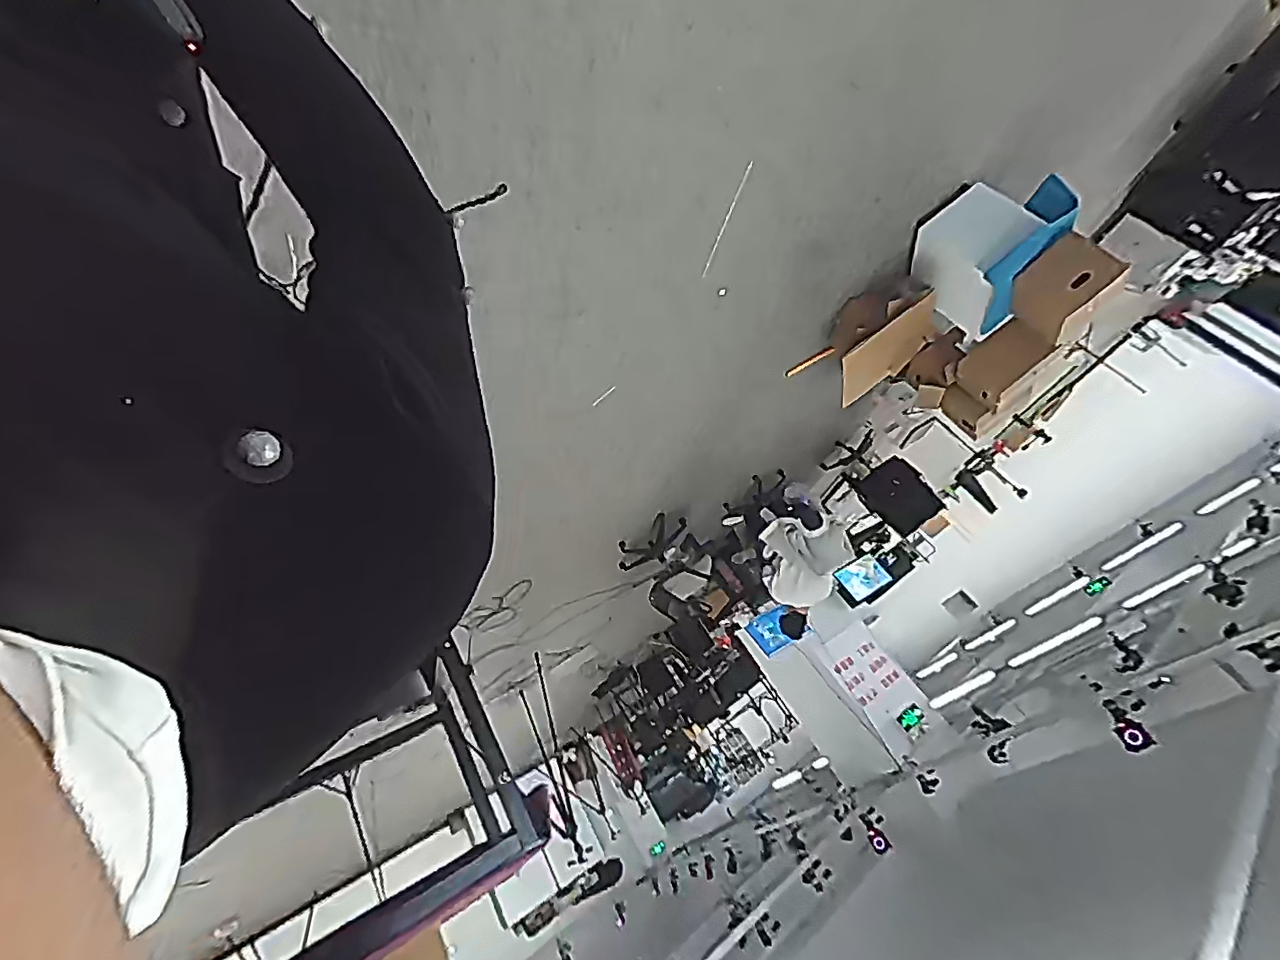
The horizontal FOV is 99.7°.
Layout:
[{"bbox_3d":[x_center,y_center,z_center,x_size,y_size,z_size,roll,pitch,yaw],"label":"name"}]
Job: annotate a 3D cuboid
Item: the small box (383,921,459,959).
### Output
[{"bbox_3d":[-0.556,1.269,1.380,0.179,0.176,0.168,-19,150,-30],"label":"small box"}]
